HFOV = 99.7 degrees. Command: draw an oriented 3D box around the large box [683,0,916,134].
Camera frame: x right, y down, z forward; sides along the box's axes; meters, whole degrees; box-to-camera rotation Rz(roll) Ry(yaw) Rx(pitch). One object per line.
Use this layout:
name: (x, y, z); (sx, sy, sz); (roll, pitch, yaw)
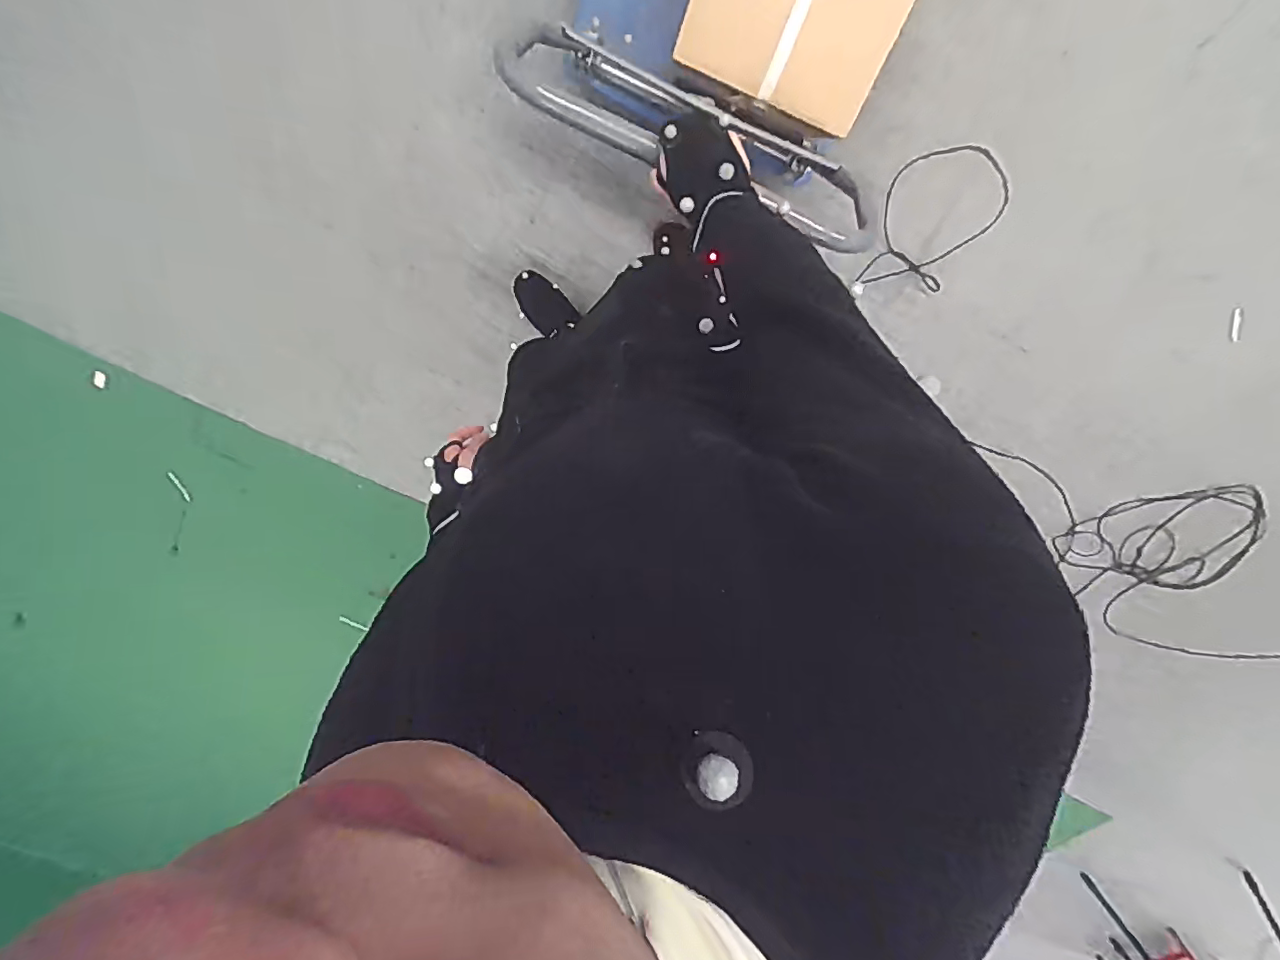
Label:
large box: (0.283, -0.855, 0.899); (0.320, 0.320, 0.408); (19, 122, -9)
